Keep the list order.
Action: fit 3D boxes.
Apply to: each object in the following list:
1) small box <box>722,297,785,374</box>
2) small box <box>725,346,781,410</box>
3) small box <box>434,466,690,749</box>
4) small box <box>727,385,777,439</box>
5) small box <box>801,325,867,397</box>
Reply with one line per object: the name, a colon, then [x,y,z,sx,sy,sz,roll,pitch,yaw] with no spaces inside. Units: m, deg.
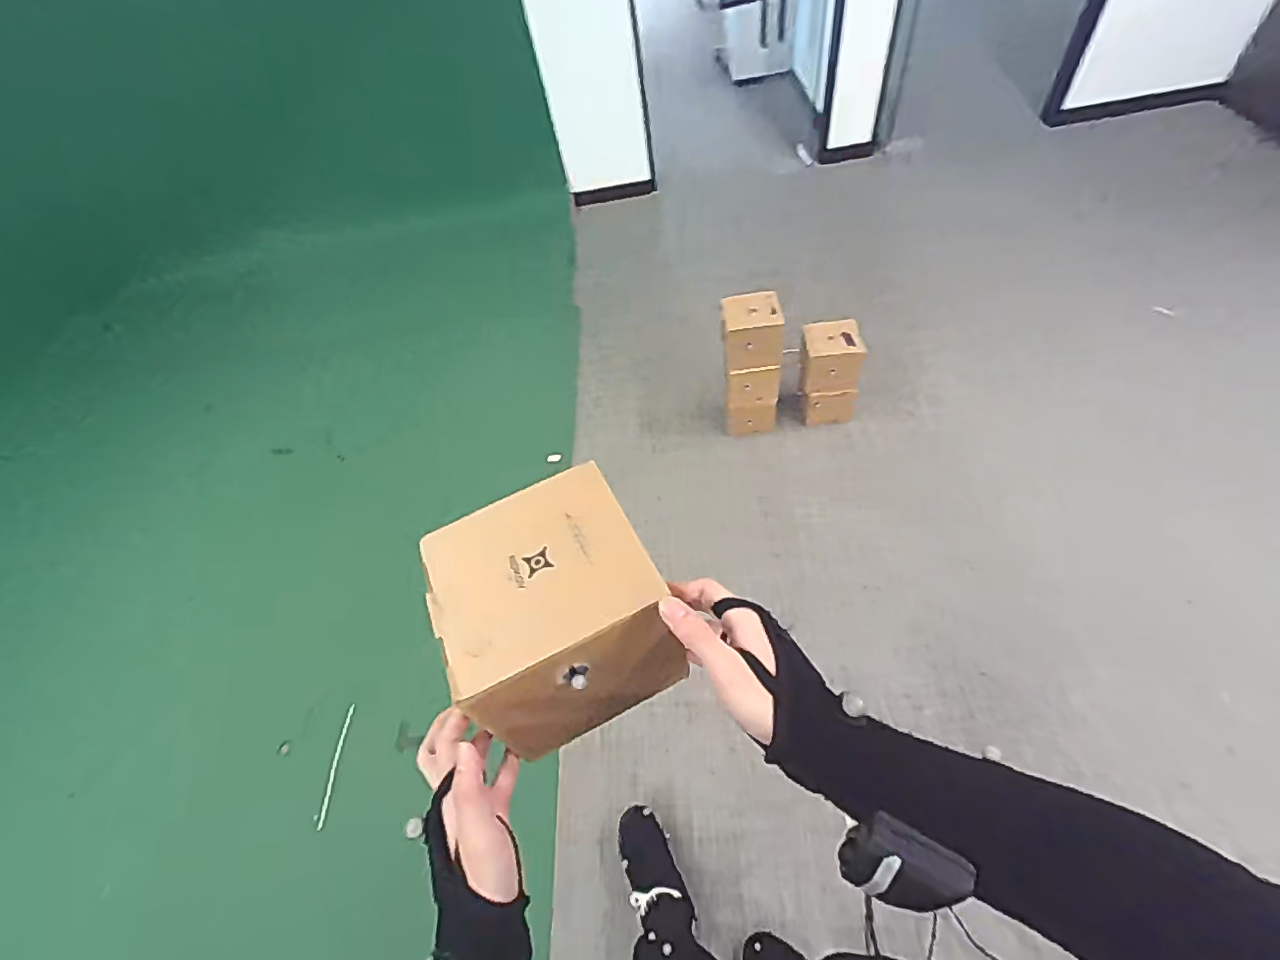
small box: [0.364,-0.458,1.738,0.179,0.176,0.168,-7,54,7]
small box: [0.389,-0.359,1.866,0.168,0.176,0.179,-7,53,6]
small box: [-0.068,0.124,0.516,0.179,0.176,0.168,-24,48,-8]
small box: [0.411,-0.266,1.996,0.168,0.176,0.179,-5,54,7]
small box: [0.655,-0.403,1.844,0.179,0.176,0.168,-5,53,8]
